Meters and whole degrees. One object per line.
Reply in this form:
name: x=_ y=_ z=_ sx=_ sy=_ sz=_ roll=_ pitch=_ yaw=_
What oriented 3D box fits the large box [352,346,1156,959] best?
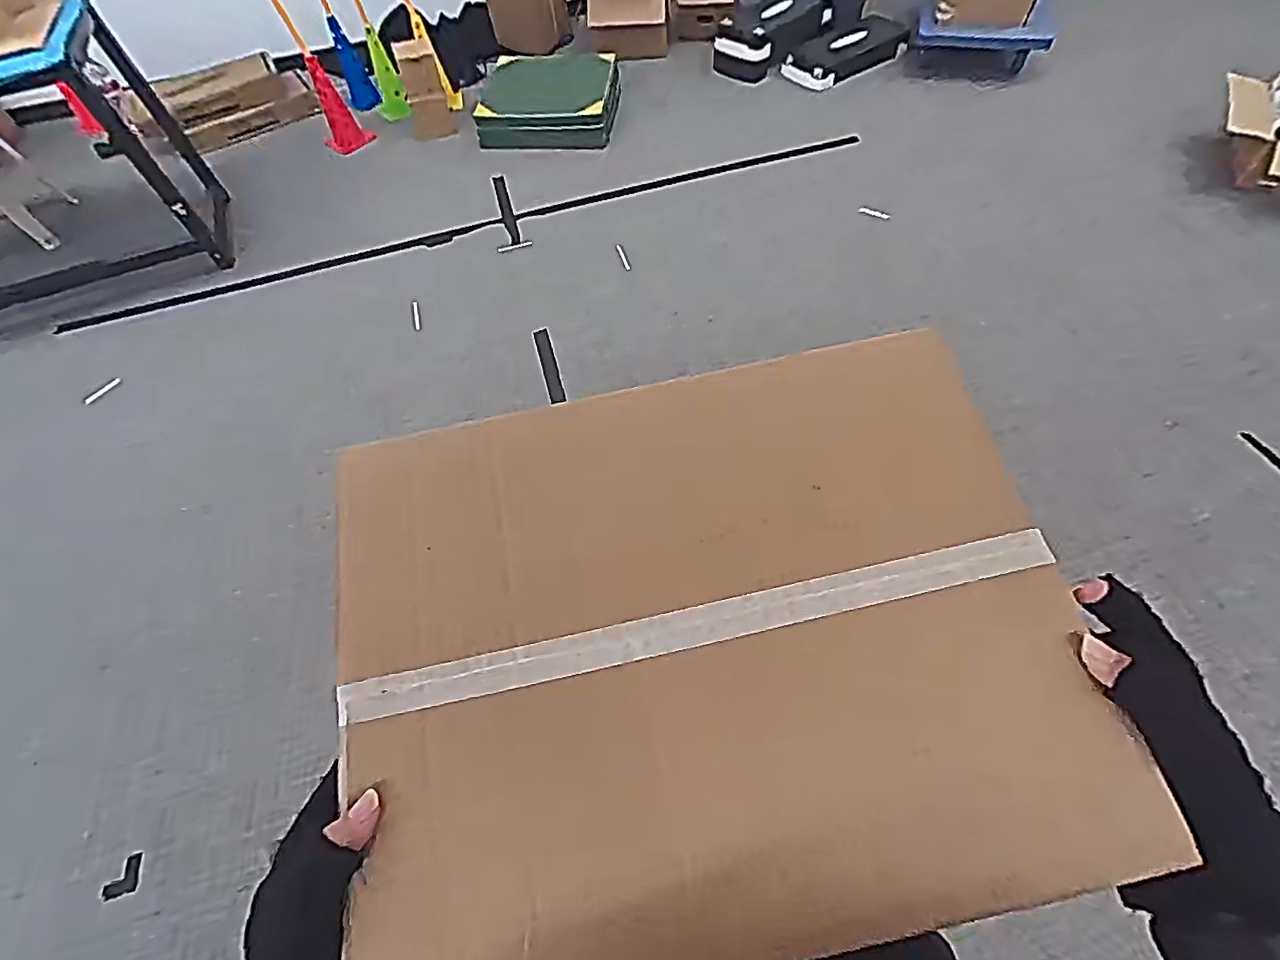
large box: x=0.043 y=0.141 z=0.452 sx=0.408 sy=0.320 sz=0.320 roll=-13 pitch=68 yaw=-1
